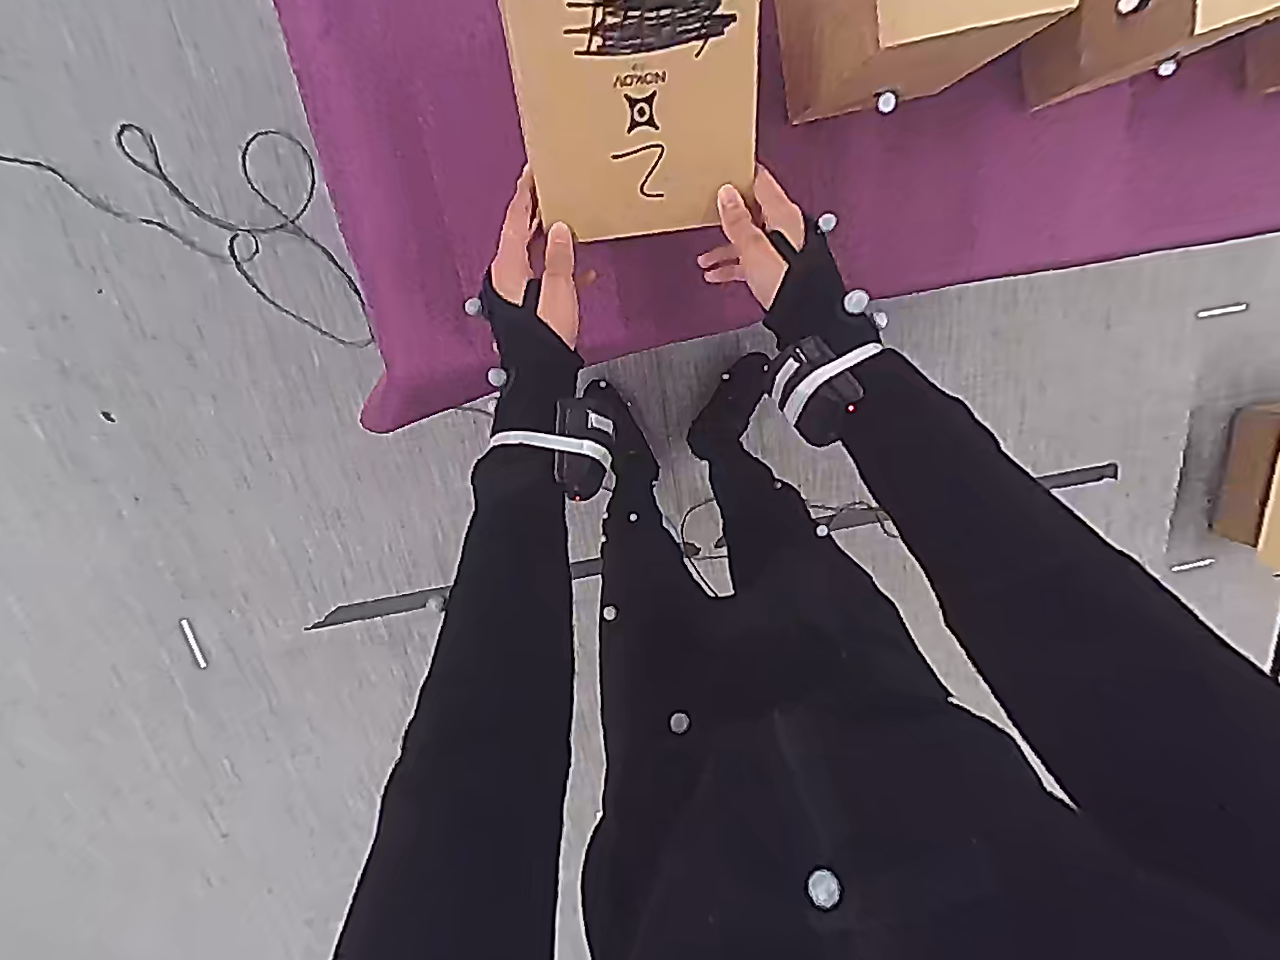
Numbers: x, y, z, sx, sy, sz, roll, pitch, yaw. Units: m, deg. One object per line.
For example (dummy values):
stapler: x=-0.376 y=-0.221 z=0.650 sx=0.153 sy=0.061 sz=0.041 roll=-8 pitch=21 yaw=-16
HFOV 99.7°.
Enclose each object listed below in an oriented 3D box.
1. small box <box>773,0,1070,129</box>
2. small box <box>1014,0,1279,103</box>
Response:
small box: x=0.221 y=-0.438 z=0.461 sx=0.168 sy=0.176 sz=0.179 roll=-15 pitch=108 yaw=-4
small box: x=0.471 y=-0.475 z=0.487 sx=0.168 sy=0.176 sz=0.179 roll=-20 pitch=107 yaw=-3
